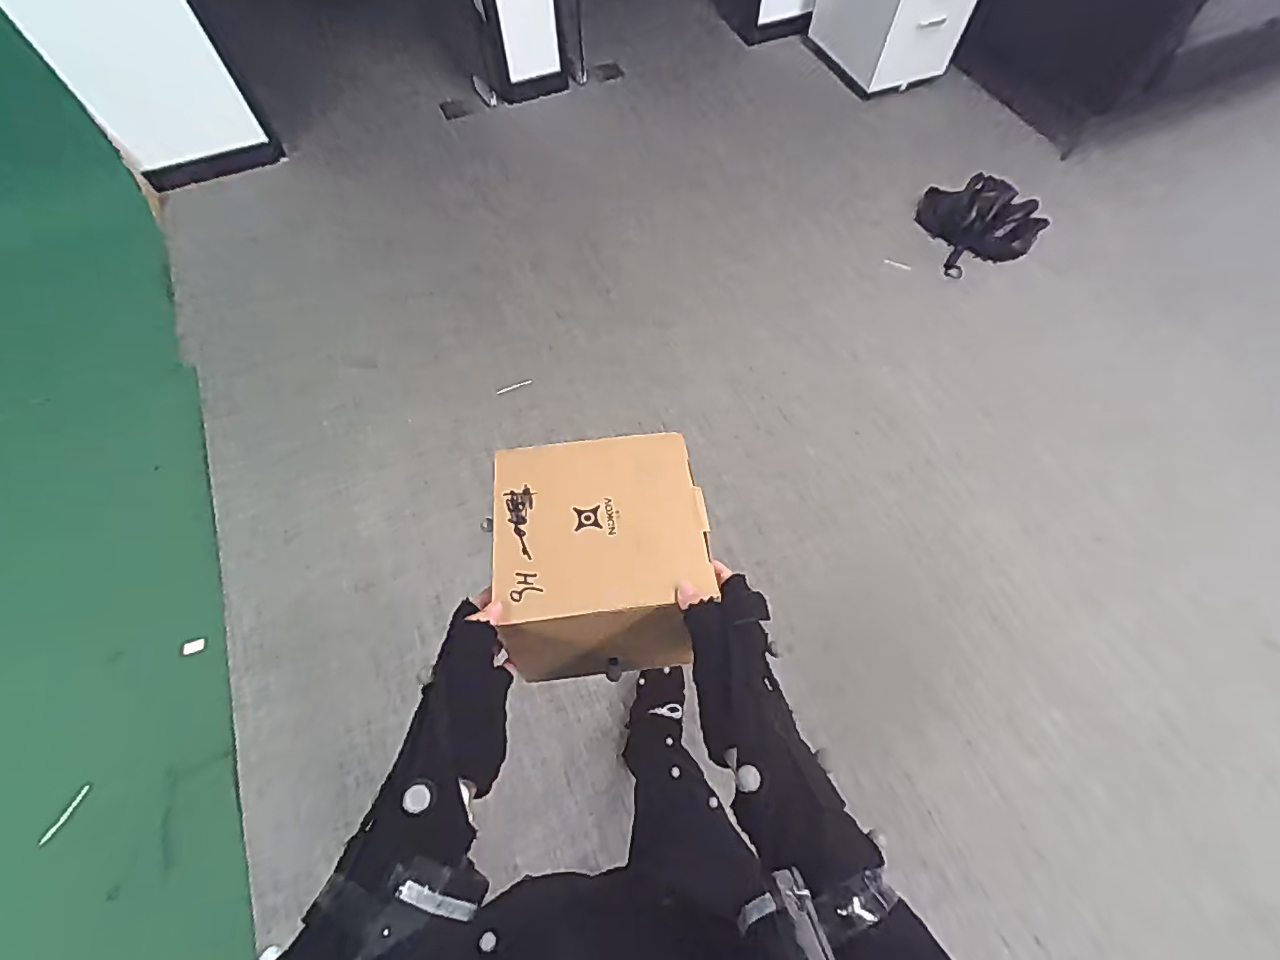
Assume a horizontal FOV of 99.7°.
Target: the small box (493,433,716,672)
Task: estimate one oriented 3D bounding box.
[{"bbox_3d":[-0.039,0.074,0.525,0.179,0.176,0.168,-5,55,-6],"label":"small box"}]
